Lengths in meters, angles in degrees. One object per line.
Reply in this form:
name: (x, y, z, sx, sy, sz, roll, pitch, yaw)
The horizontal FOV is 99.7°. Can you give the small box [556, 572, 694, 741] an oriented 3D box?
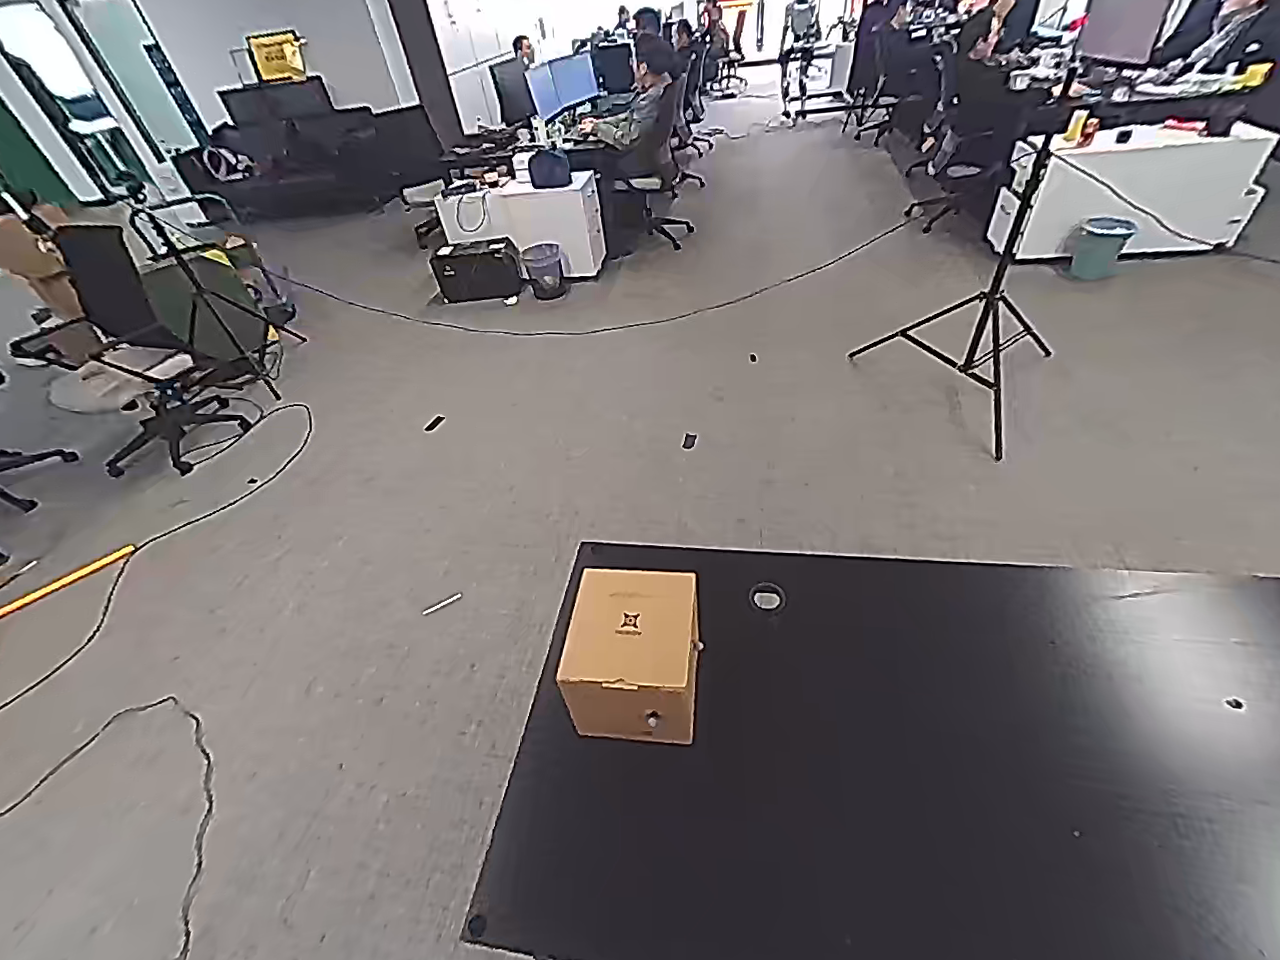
small box: (-0.009, 0.255, 0.782, 0.168, 0.176, 0.179, 1, 43, 8)
